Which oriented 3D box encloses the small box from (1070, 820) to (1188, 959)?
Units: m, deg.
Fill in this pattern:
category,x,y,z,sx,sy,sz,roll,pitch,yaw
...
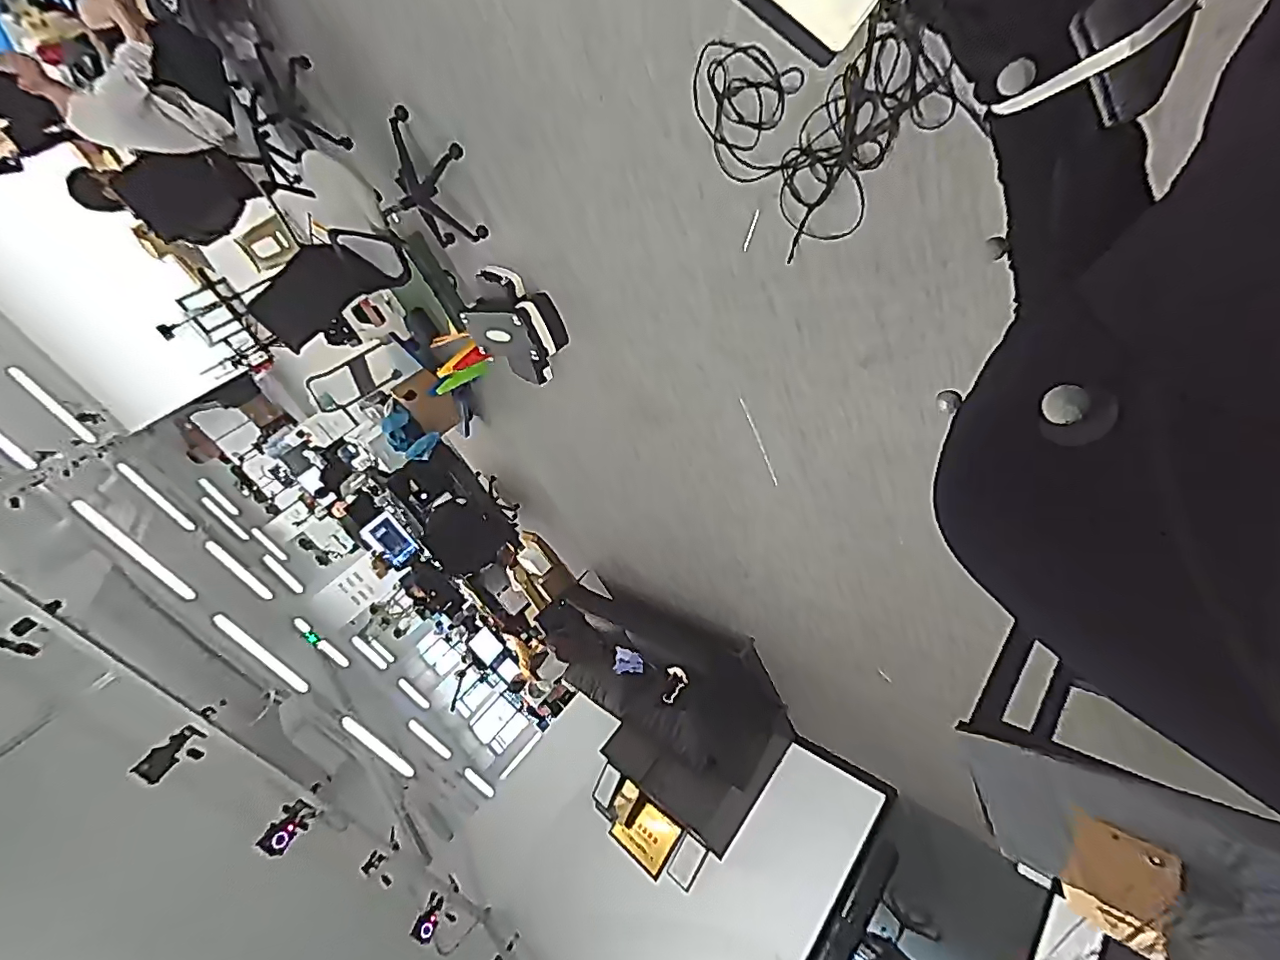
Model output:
category,x,y,z,sx,sy,sz,roll,pitch,yaw
small box,1.076,0.899,1.191,0.168,0.176,0.179,9,137,51
